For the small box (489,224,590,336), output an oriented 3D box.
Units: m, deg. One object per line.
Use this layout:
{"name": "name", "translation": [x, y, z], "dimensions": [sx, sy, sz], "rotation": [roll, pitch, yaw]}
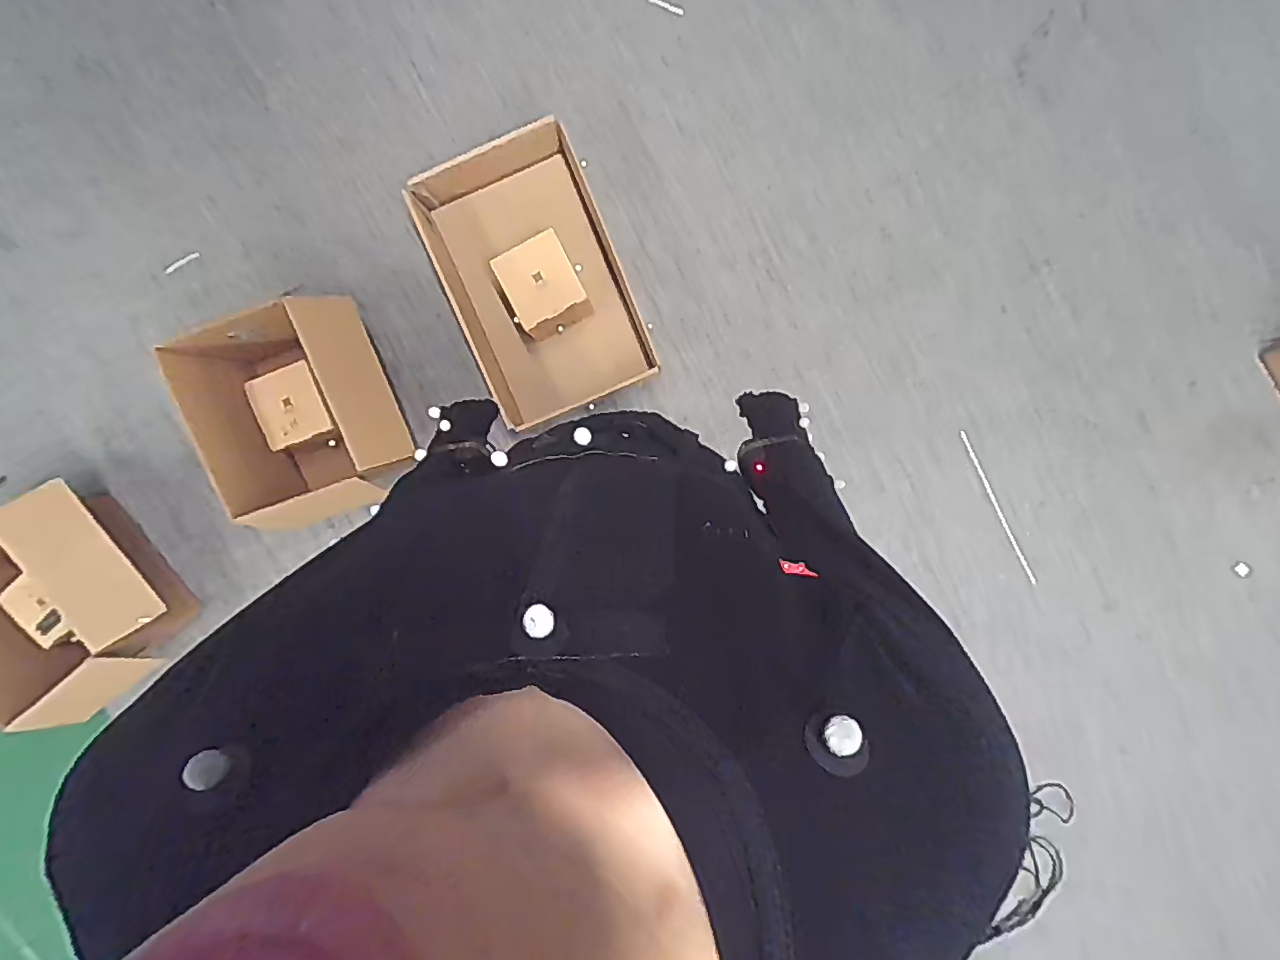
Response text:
{"name": "small box", "translation": [-0.233, -0.468, 1.295], "dimensions": [0.168, 0.176, 0.179], "rotation": [-27, 96, 3]}
